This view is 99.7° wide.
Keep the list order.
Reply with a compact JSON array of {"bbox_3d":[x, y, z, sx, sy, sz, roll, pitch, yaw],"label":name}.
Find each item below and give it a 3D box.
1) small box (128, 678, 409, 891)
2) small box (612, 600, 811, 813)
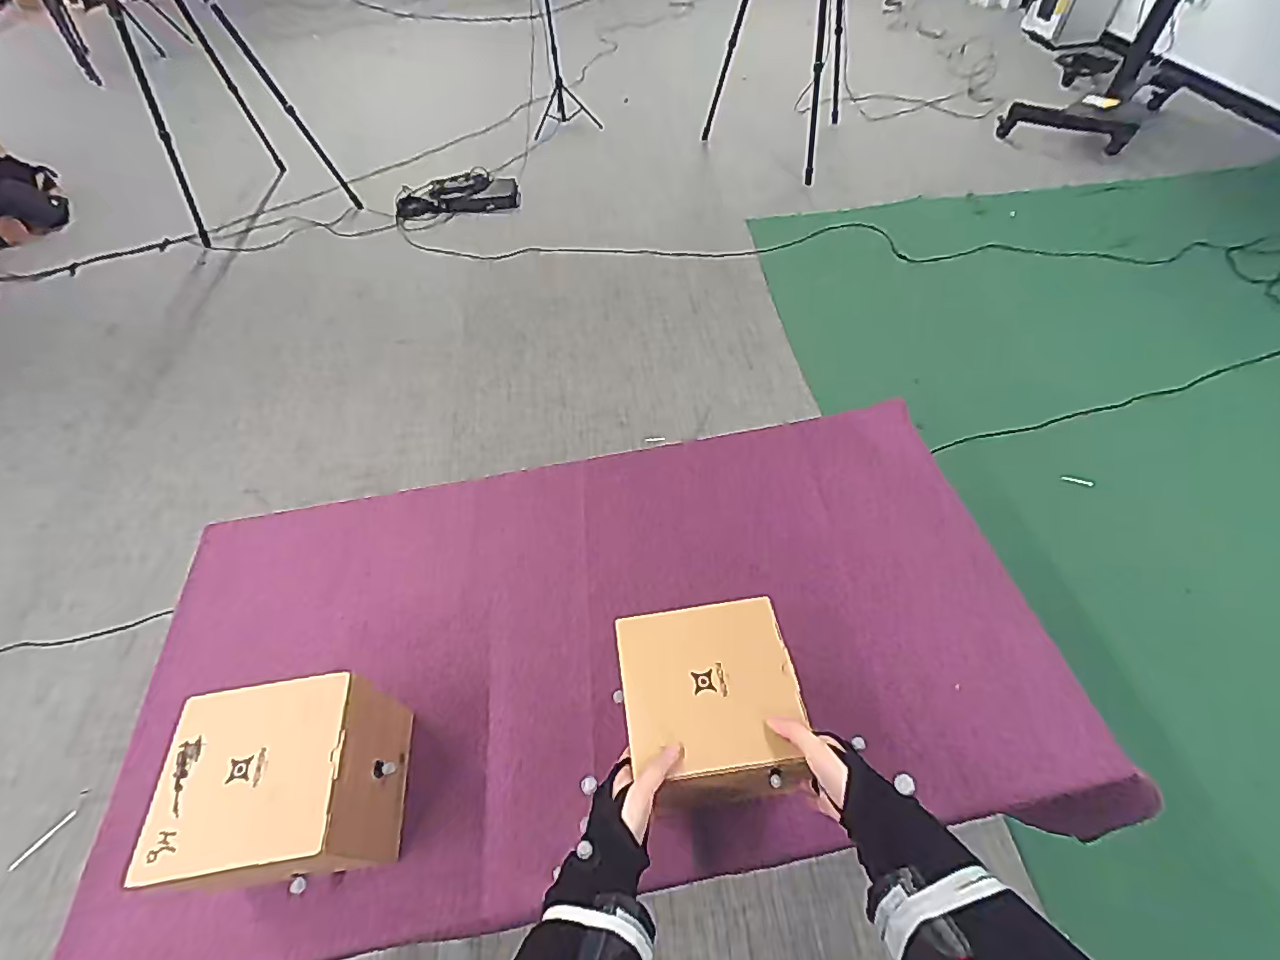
[{"bbox_3d":[-0.375,0.334,0.592,0.179,0.176,0.168,-8,53,-2],"label":"small box"},{"bbox_3d":[0.071,0.258,0.607,0.179,0.176,0.168,-8,50,-2],"label":"small box"}]
